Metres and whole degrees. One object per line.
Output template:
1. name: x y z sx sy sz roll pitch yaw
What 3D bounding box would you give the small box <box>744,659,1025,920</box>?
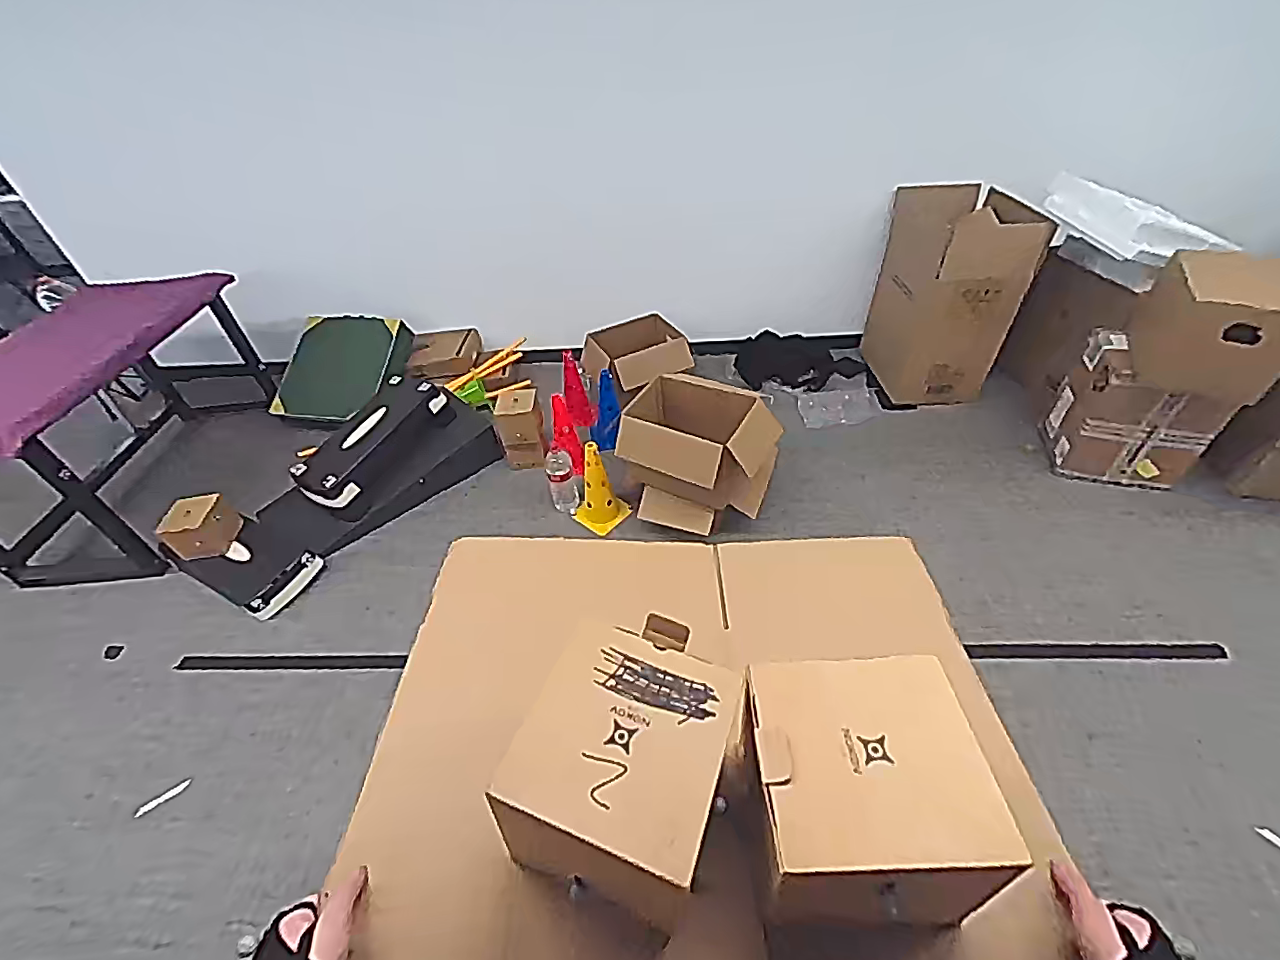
1. small box: 0.198 0.287 0.503 0.179 0.176 0.168 -4 40 3
